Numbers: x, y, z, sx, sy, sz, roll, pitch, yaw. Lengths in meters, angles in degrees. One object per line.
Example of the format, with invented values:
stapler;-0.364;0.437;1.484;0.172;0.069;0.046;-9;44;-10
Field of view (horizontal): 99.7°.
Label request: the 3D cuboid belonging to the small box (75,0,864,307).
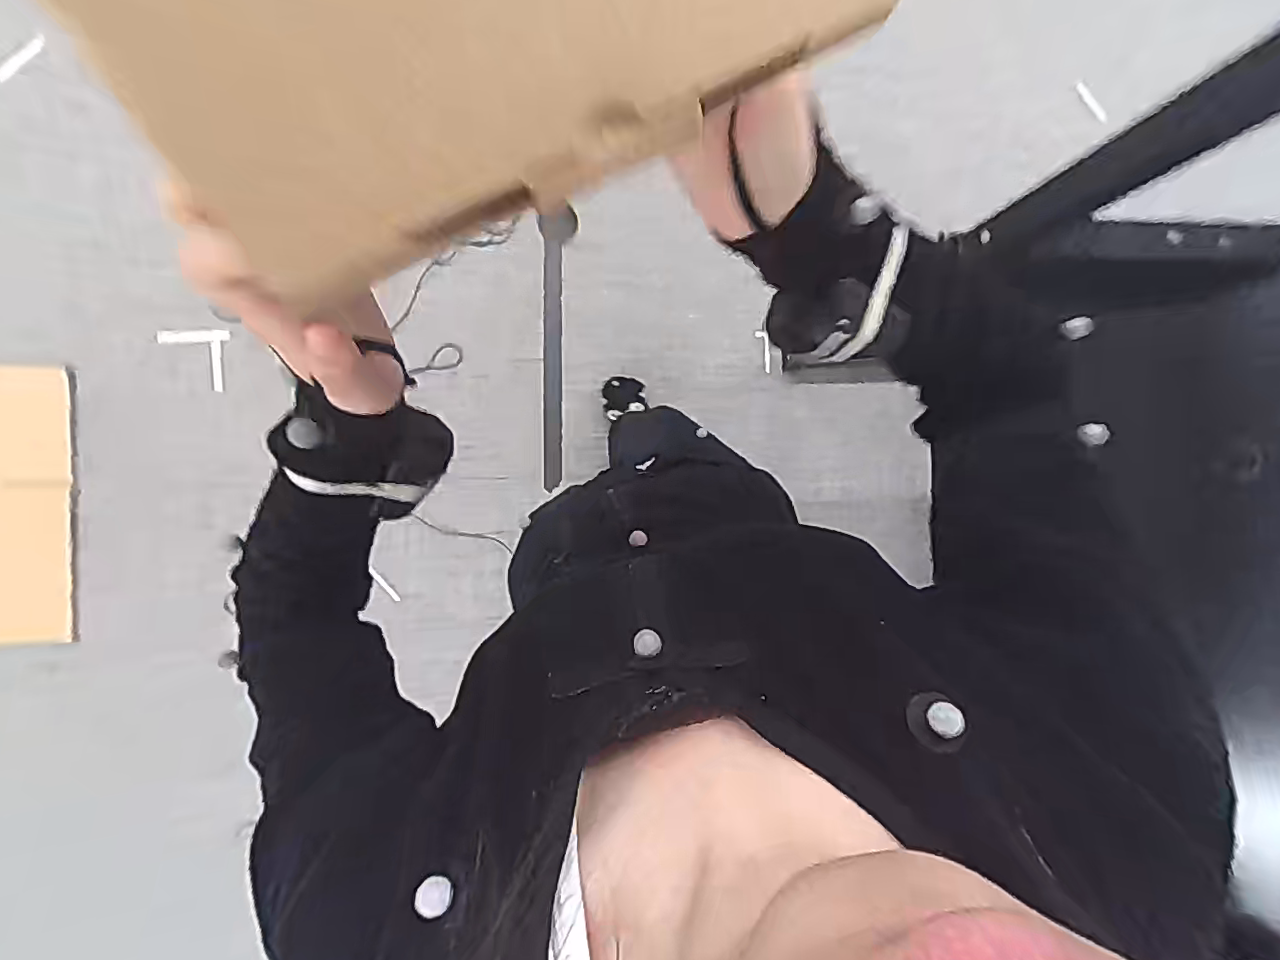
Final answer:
small box;-0.071;-0.174;0.161;0.168;0.176;0.179;-33;119;-10
